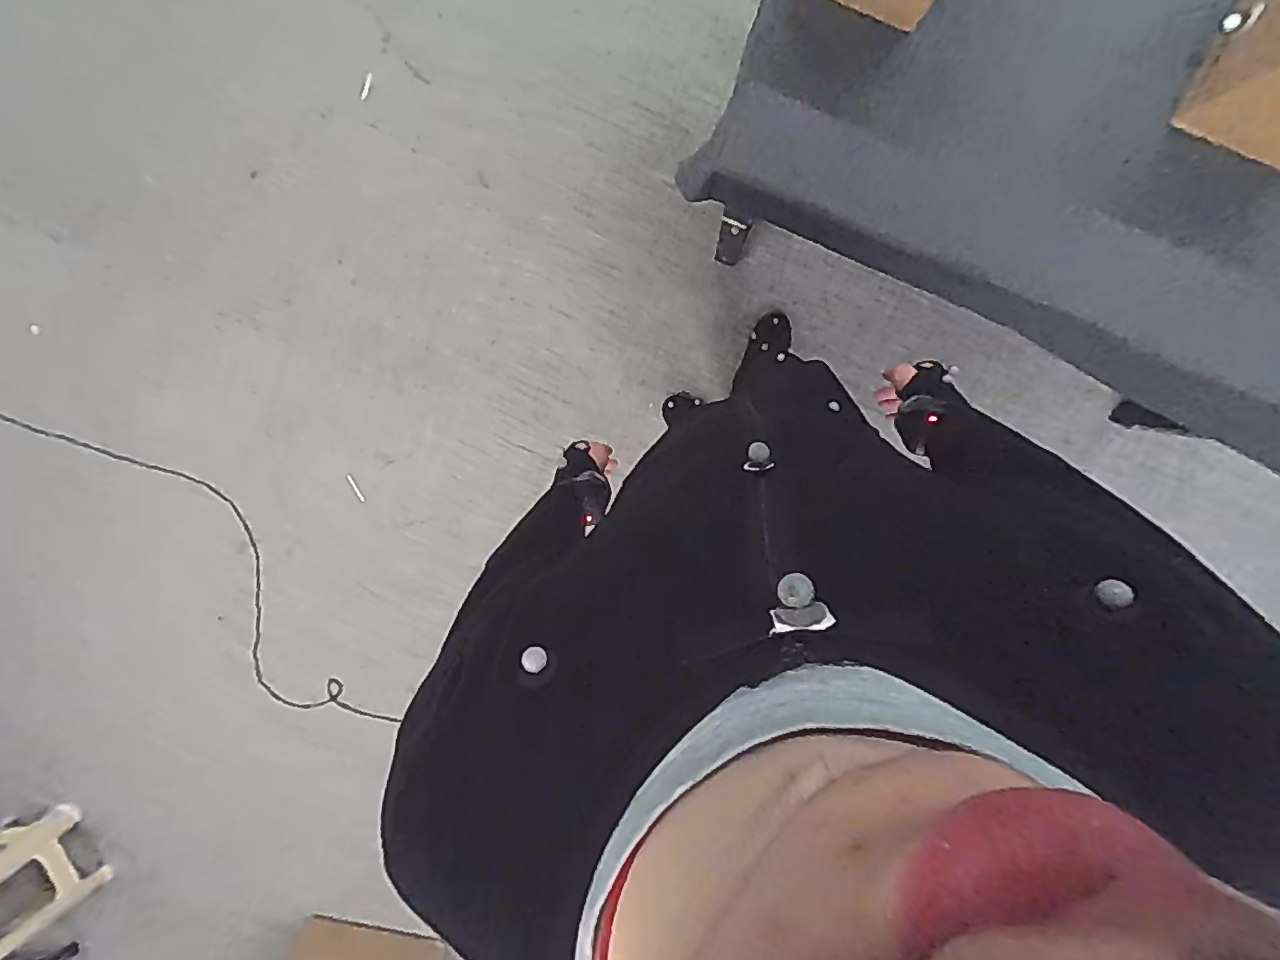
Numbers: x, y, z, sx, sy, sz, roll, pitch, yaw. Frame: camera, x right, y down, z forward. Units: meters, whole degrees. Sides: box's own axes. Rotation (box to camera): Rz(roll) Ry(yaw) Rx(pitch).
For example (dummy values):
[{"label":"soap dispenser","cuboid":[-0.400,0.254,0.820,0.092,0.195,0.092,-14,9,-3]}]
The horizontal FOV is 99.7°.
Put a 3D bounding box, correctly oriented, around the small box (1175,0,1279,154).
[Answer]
[{"label":"small box","cuboid":[0.758,-0.479,0.573,0.179,0.176,0.168,22,104,0]}]
